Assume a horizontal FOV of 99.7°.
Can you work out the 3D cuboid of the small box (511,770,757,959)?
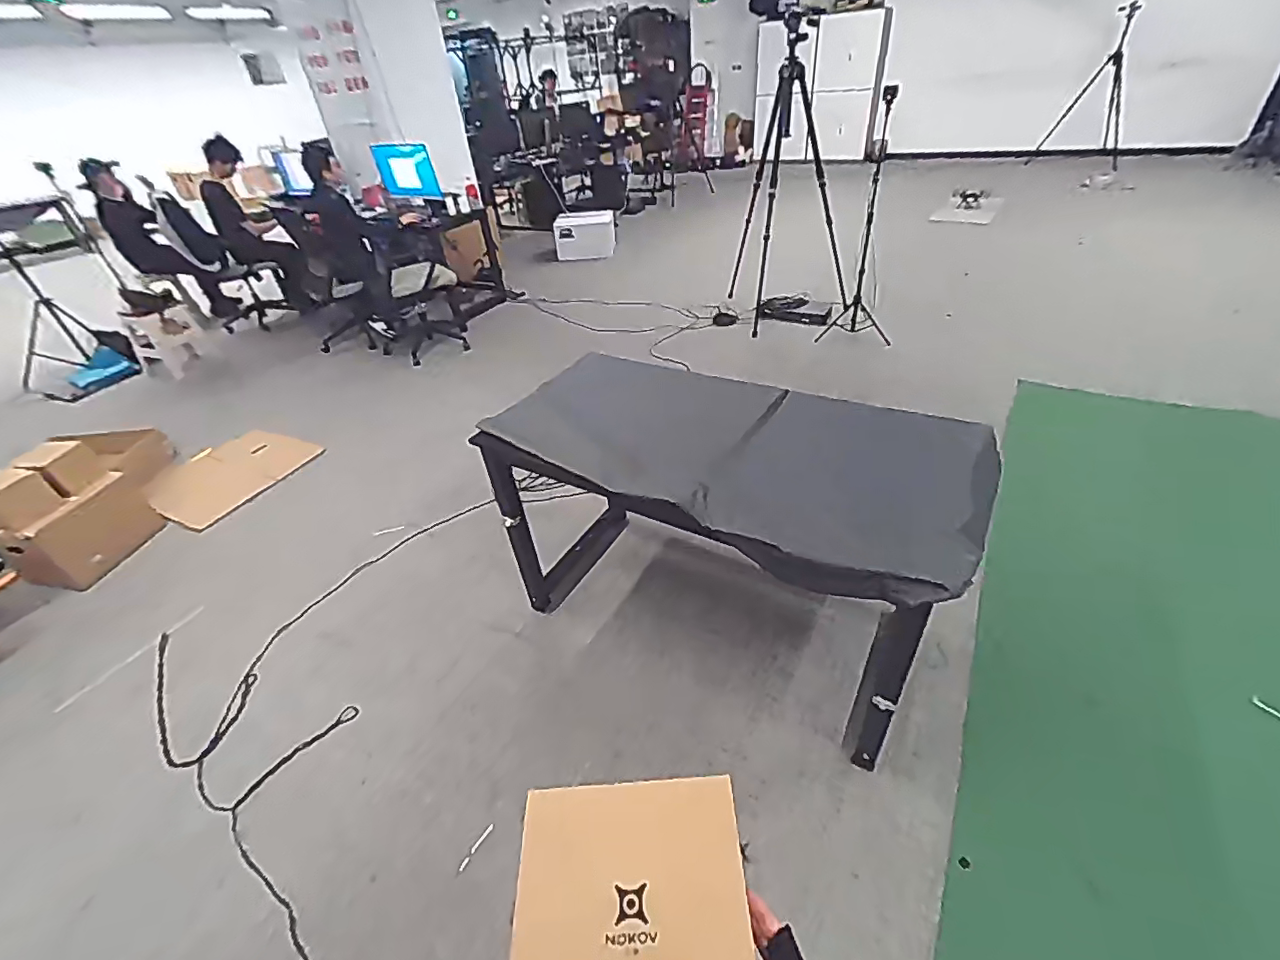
[{"bbox_3d":[0.002,0.356,0.429,0.168,0.176,0.179,-6,43,3],"label":"small box"}]
